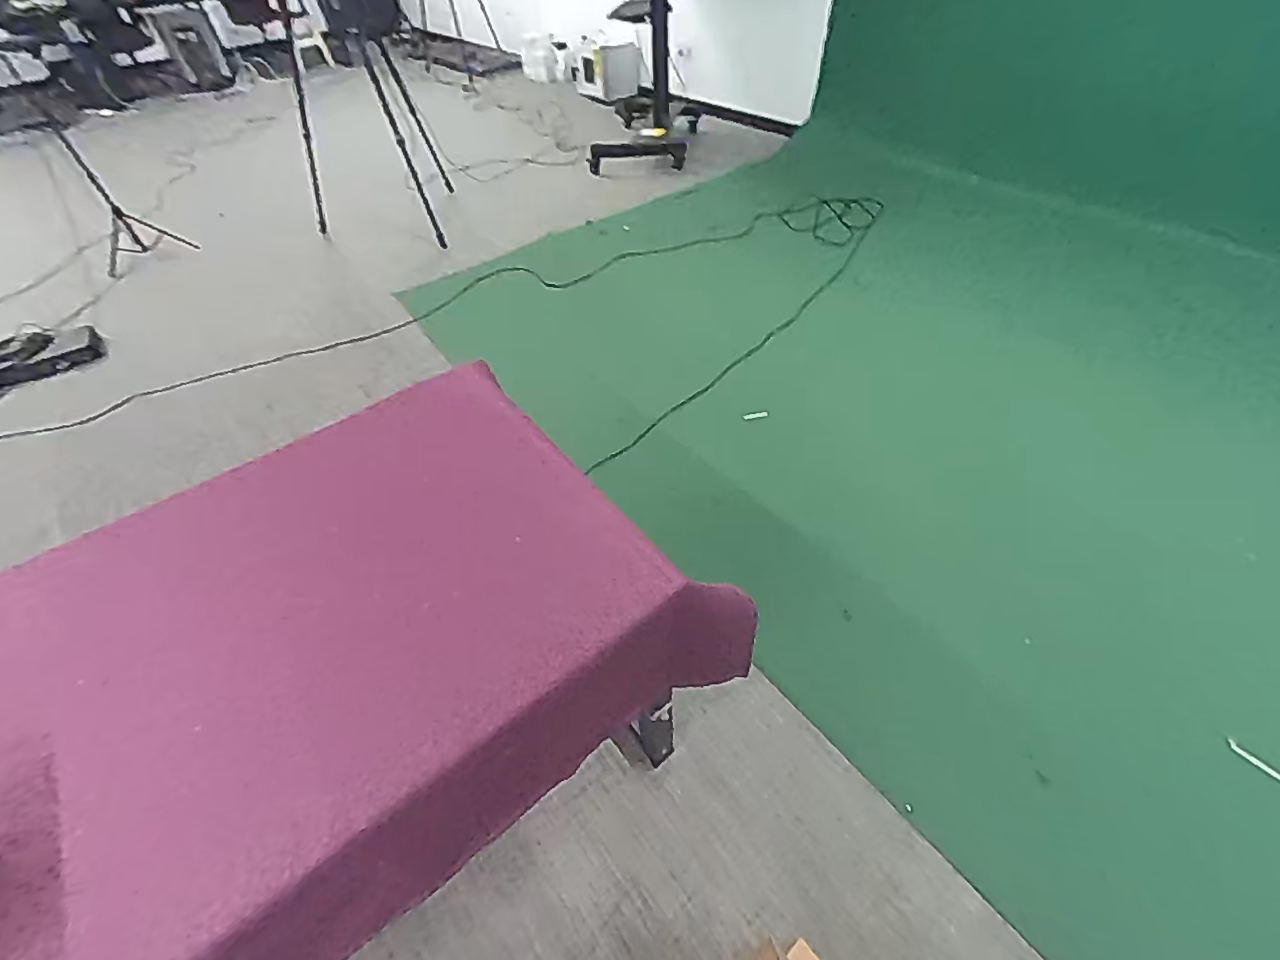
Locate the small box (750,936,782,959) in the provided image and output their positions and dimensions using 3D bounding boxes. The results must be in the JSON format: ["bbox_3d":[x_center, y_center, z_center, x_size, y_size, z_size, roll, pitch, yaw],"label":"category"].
[{"bbox_3d":[0.219,0.880,0.860,0.179,0.176,0.168,-34,55,-25],"label":"small box"}]
